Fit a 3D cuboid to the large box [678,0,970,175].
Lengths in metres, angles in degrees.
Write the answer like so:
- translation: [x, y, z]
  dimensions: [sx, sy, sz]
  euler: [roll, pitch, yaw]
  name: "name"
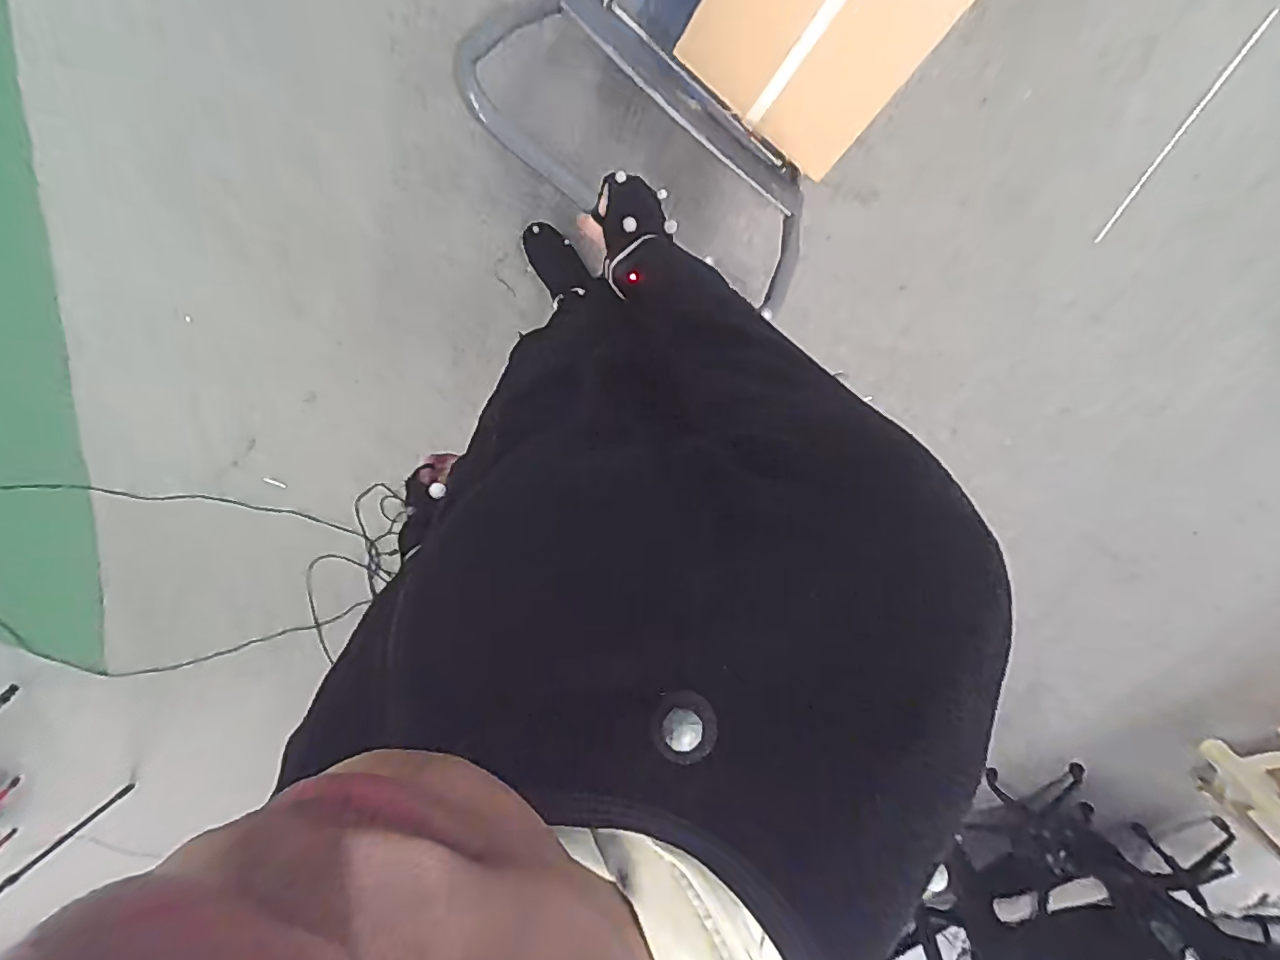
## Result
- translation: [0.313, -0.795, 0.859]
  dimensions: [0.320, 0.320, 0.408]
  euler: [33, 131, -17]
  name: "large box"
